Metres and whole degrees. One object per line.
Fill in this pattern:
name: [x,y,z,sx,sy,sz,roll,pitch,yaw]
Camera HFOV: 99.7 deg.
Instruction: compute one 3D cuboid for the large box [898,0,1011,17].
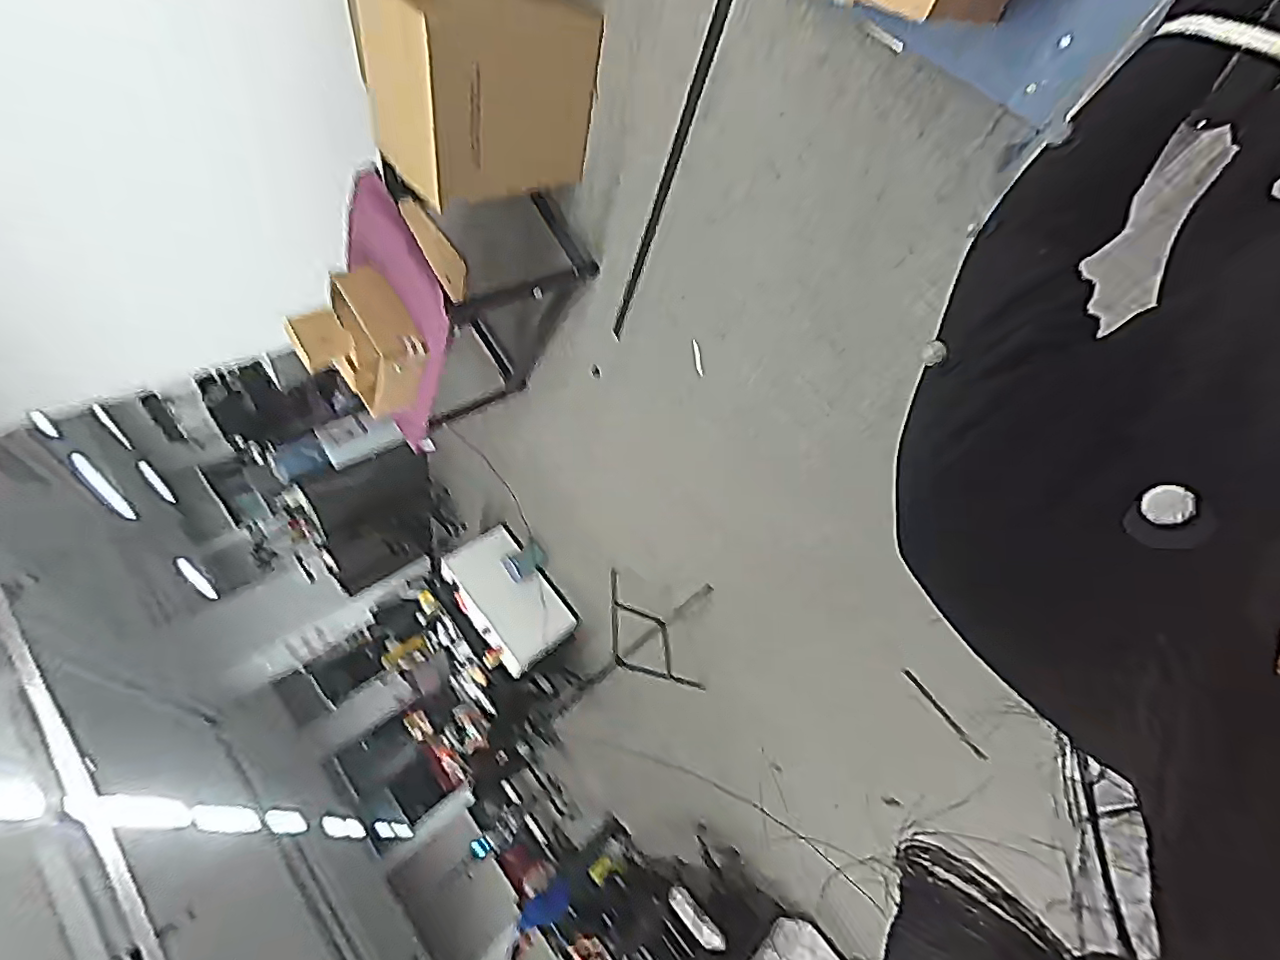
large box: [0.466,-0.977,0.791,0.320,0.320,0.408,42,143,22]
